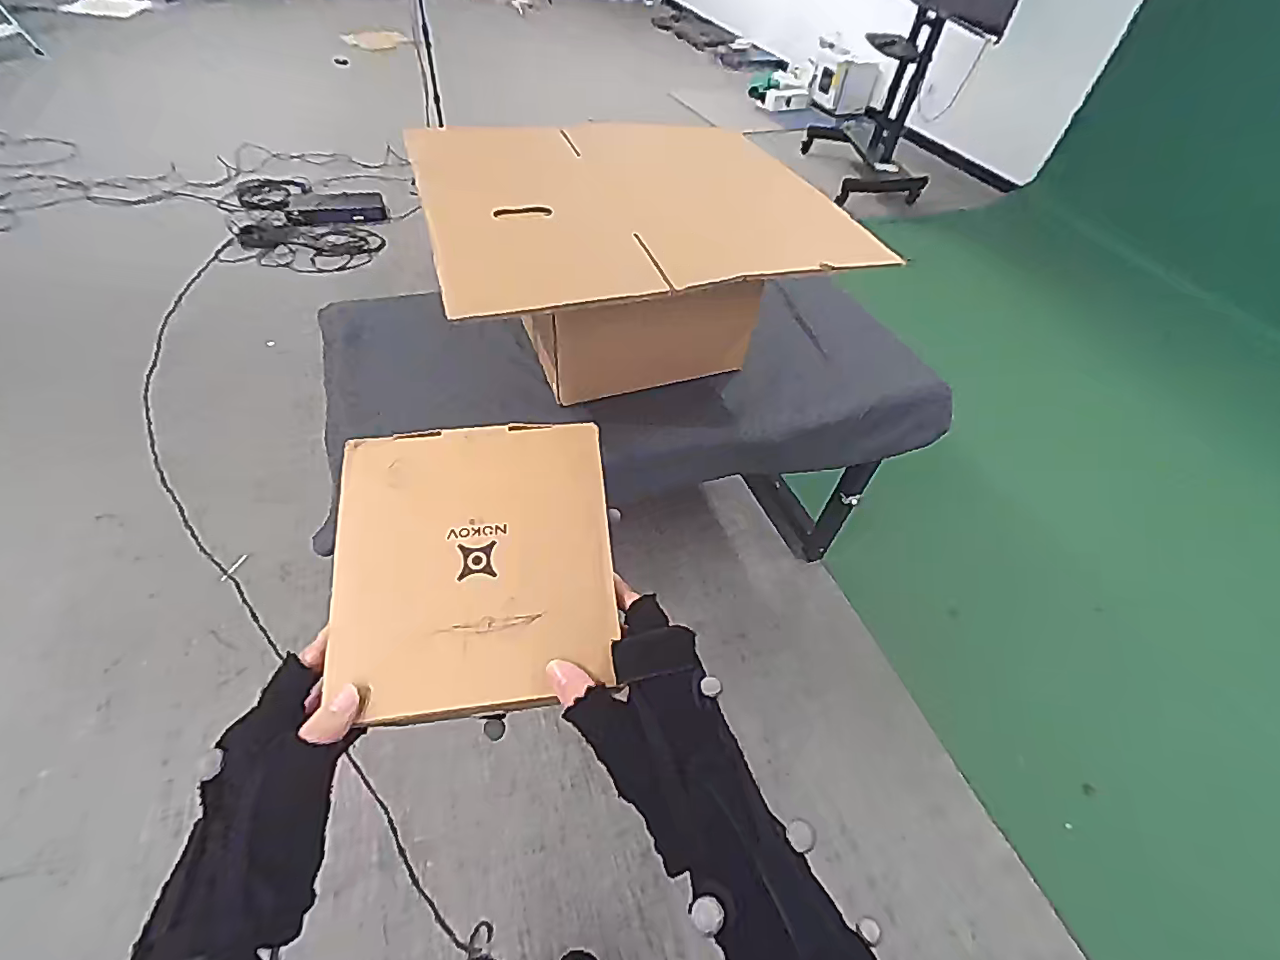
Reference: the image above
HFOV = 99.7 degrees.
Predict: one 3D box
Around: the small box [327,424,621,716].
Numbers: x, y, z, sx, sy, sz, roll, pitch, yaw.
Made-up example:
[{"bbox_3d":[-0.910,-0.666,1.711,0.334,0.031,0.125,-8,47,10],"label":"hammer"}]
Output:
[{"bbox_3d":[-0.108,0.076,0.413,0.168,0.176,0.179,-4,67,-7],"label":"small box"}]
